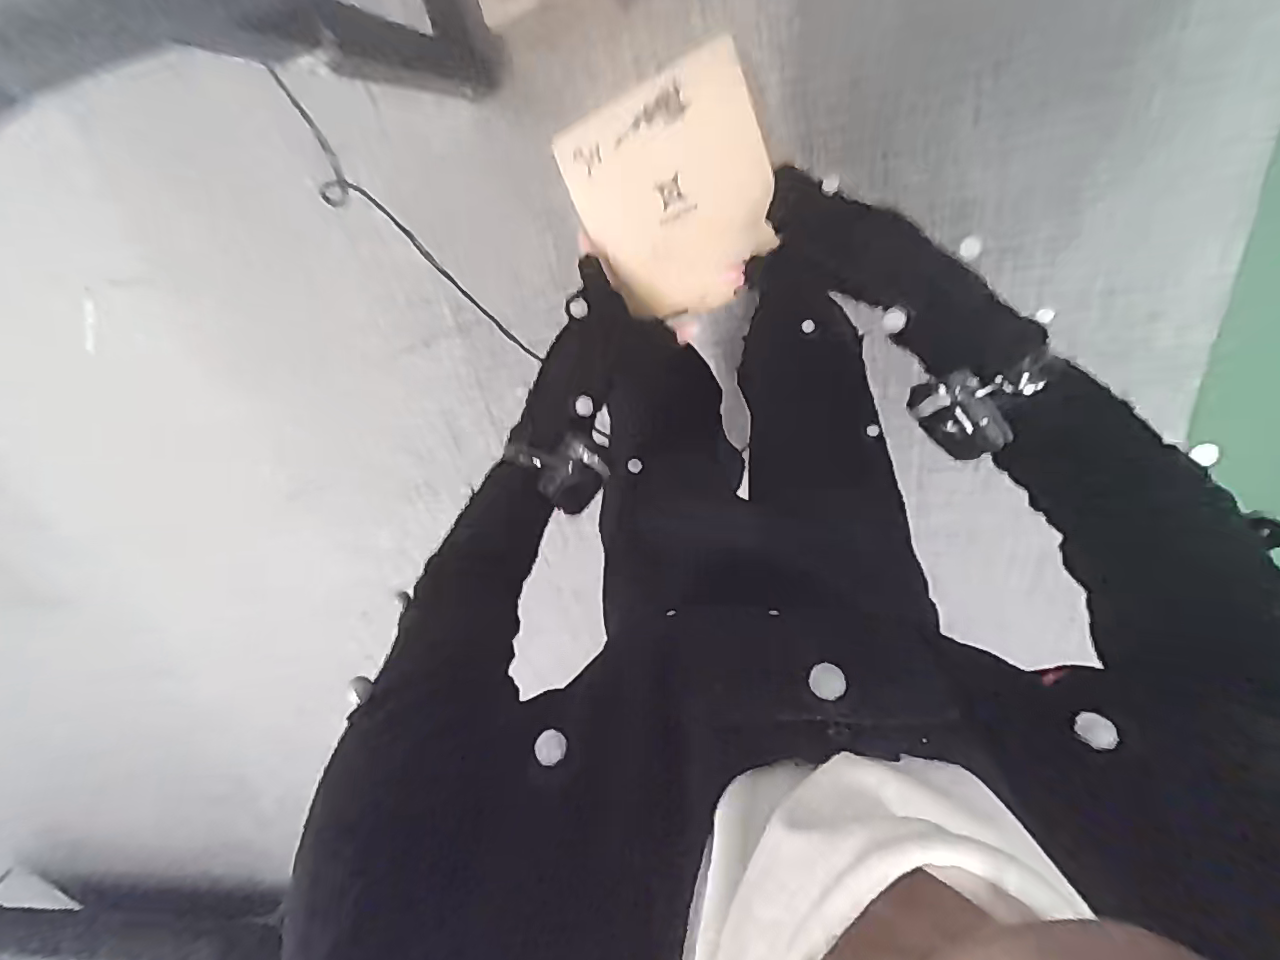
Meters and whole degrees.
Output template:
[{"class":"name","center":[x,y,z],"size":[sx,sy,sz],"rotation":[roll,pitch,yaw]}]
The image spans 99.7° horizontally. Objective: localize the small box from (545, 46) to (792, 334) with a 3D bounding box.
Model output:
[{"class":"small box","center":[0.044,-0.268,0.521],"size":[0.168,0.176,0.179],"rotation":[-14,115,24]}]
